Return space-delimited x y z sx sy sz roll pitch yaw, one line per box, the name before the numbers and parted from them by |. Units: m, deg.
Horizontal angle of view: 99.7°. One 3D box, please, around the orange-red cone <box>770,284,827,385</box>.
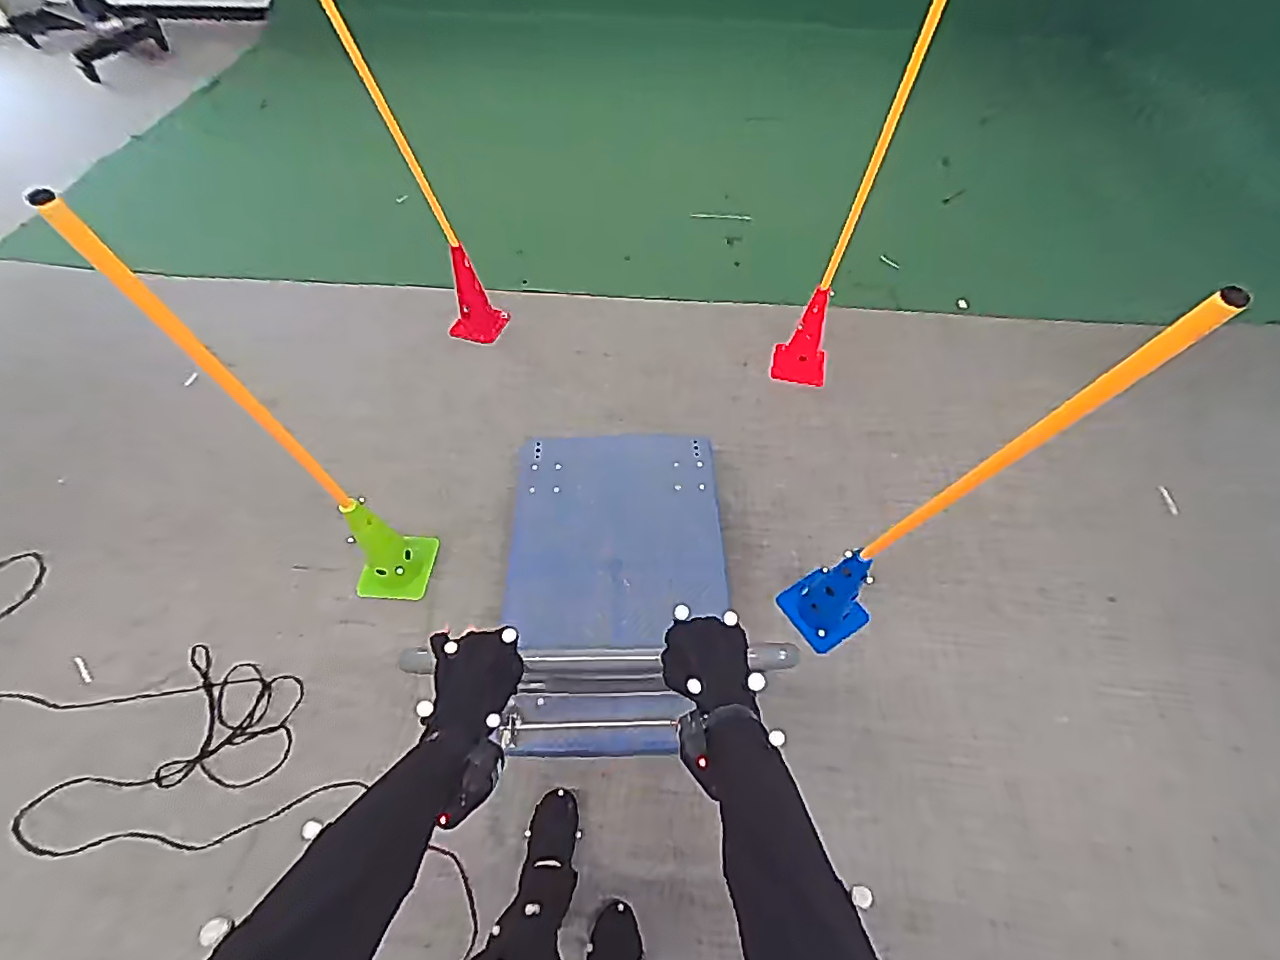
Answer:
orange-red cone | 0.611 -0.542 1.947 0.198 0.360 0.199 13 58 9
